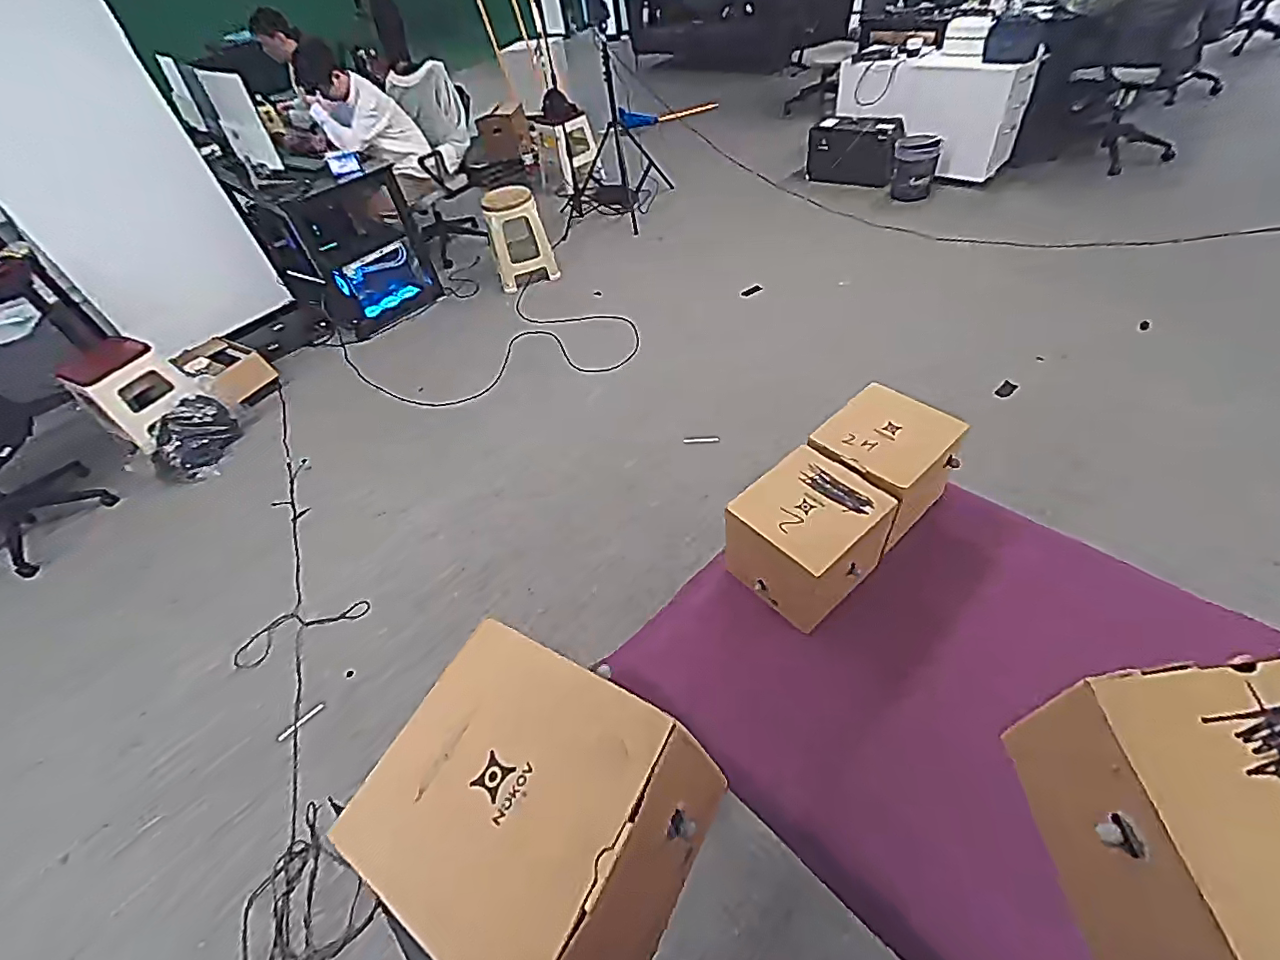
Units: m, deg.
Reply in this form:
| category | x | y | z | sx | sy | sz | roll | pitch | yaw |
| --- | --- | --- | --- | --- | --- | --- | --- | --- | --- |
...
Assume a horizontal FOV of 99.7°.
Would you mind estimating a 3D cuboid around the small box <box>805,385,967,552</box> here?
| category | x | y | z | sx | sy | sz | roll | pitch | yaw |
| --- | --- | --- | --- | --- | --- | --- | --- | --- | --- |
| small box | 0.389 | -0.019 | 0.888 | 0.179 | 0.176 | 0.168 | -37 | 52 | -21 |

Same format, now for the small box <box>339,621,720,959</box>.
| category | x | y | z | sx | sy | sz | roll | pitch | yaw |
| --- | --- | --- | --- | --- | --- | --- | --- | --- | --- |
| small box | -0.059 | 0.237 | 0.392 | 0.179 | 0.176 | 0.168 | 15 | 57 | 32 |

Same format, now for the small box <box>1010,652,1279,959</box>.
| category | x | y | z | sx | sy | sz | roll | pitch | yaw |
| --- | --- | --- | --- | --- | --- | --- | --- | --- | --- |
| small box | 0.365 | 0.219 | 0.323 | 0.168 | 0.176 | 0.179 | -11 | 53 | 8 |
